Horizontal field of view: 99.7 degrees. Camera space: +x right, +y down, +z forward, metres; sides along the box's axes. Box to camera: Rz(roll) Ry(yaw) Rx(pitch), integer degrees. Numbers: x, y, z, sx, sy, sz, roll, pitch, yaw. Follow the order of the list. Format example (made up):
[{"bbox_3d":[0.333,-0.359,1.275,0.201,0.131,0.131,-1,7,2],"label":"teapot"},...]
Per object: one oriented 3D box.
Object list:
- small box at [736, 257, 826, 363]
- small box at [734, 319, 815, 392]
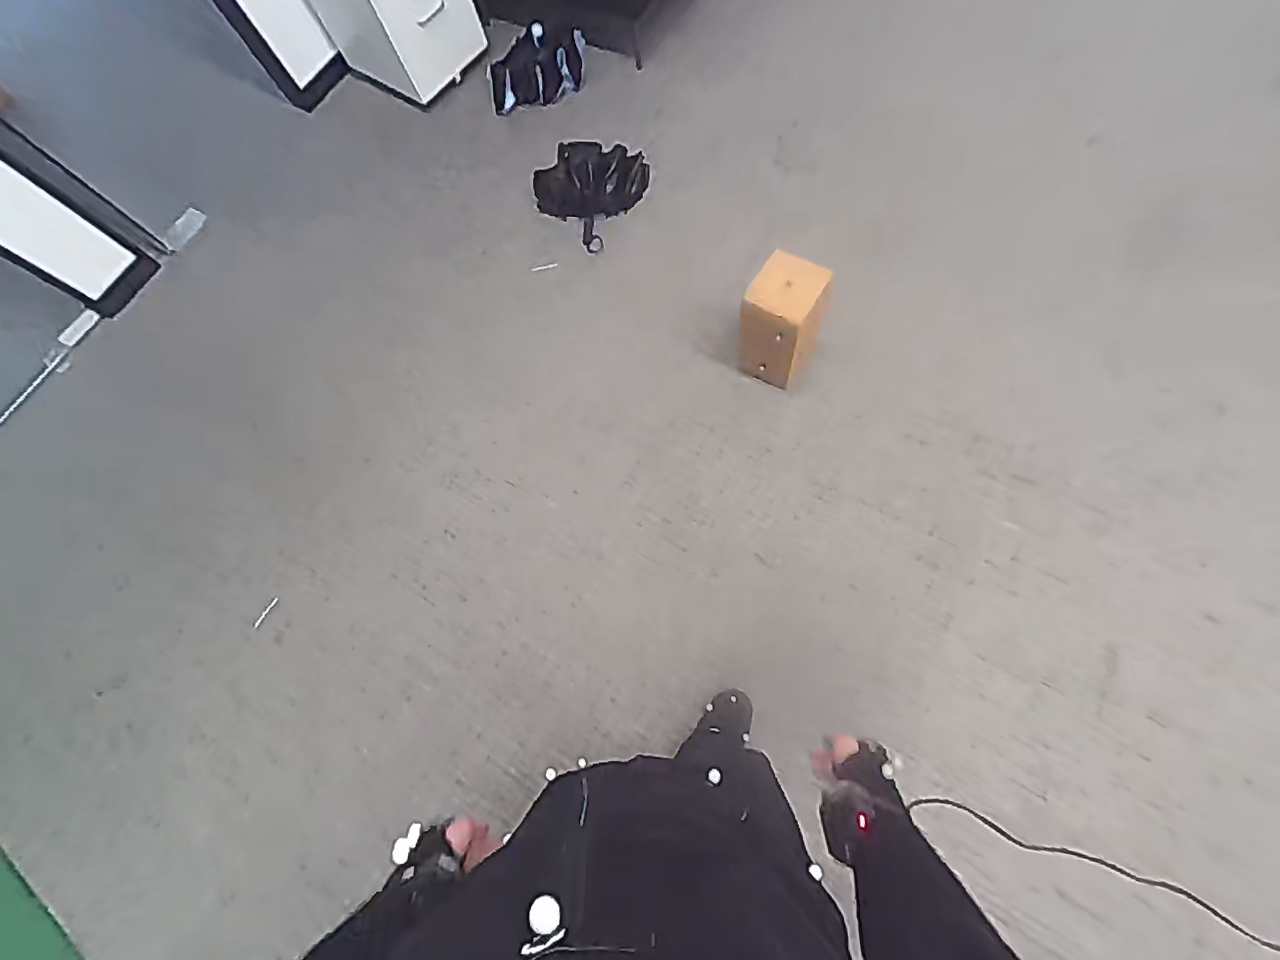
[{"bbox_3d":[0.368,-0.444,1.435,0.168,0.176,0.179,30,76,16],"label":"small box"},{"bbox_3d":[0.391,-0.390,1.587,0.168,0.176,0.179,30,78,17],"label":"small box"}]
